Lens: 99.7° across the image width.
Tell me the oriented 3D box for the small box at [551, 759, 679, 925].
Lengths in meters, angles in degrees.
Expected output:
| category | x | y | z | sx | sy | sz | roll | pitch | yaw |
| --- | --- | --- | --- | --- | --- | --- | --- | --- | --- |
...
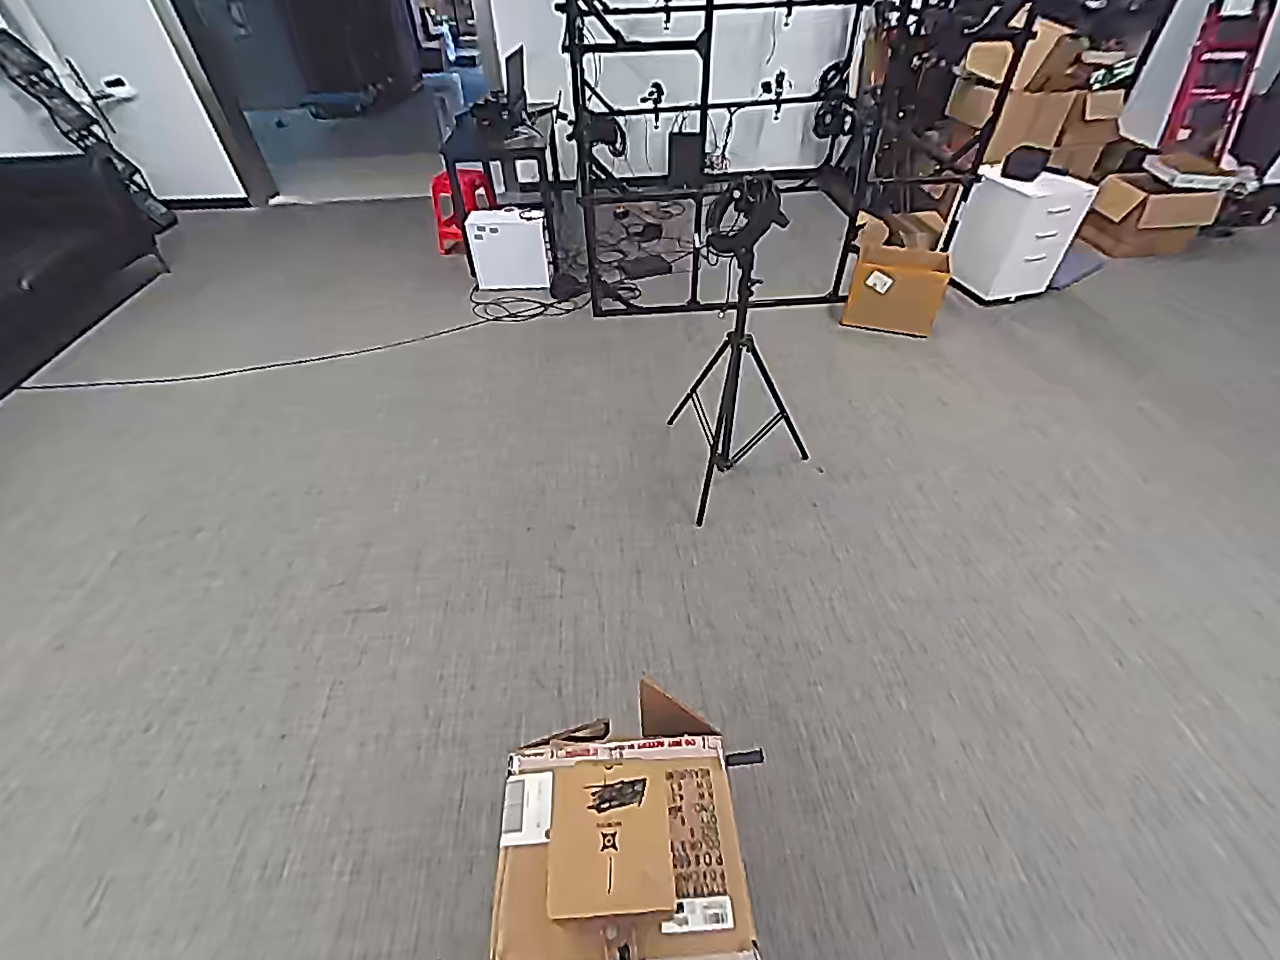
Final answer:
| category | x | y | z | sx | sy | sz | roll | pitch | yaw |
| --- | --- | --- | --- | --- | --- | --- | --- | --- | --- |
| small box | -0.035 | 0.534 | 0.797 | 0.168 | 0.176 | 0.179 | -3 | 48 | -1 |
